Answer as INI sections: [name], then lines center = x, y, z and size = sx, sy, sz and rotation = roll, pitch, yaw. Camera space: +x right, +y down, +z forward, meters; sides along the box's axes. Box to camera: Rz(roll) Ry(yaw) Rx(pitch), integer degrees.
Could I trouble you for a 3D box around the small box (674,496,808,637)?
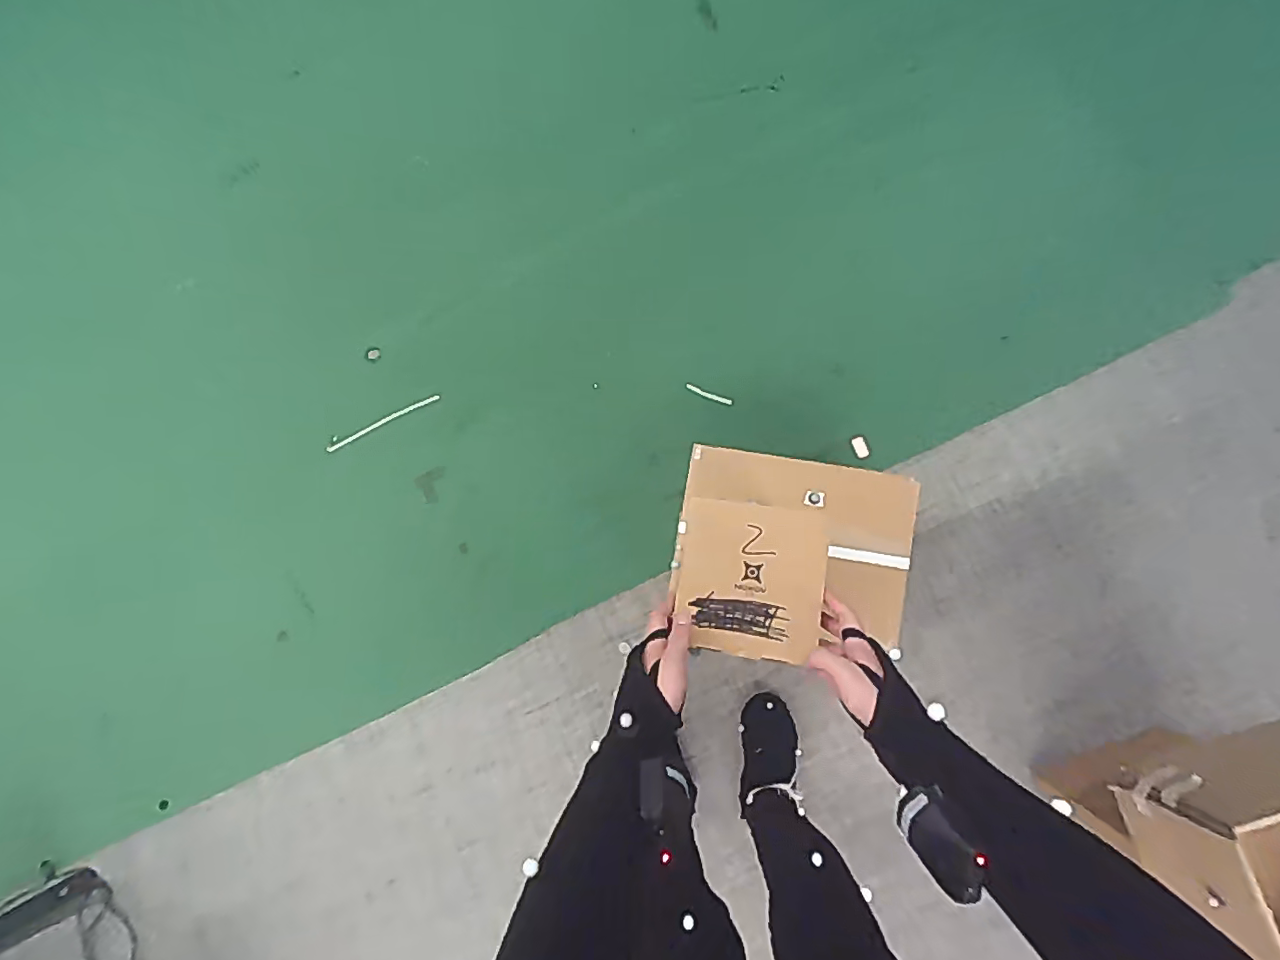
[small box]
center = 0.156, 0.135, 0.875
size = 0.168, 0.176, 0.179
rotation = 13, 84, 5
